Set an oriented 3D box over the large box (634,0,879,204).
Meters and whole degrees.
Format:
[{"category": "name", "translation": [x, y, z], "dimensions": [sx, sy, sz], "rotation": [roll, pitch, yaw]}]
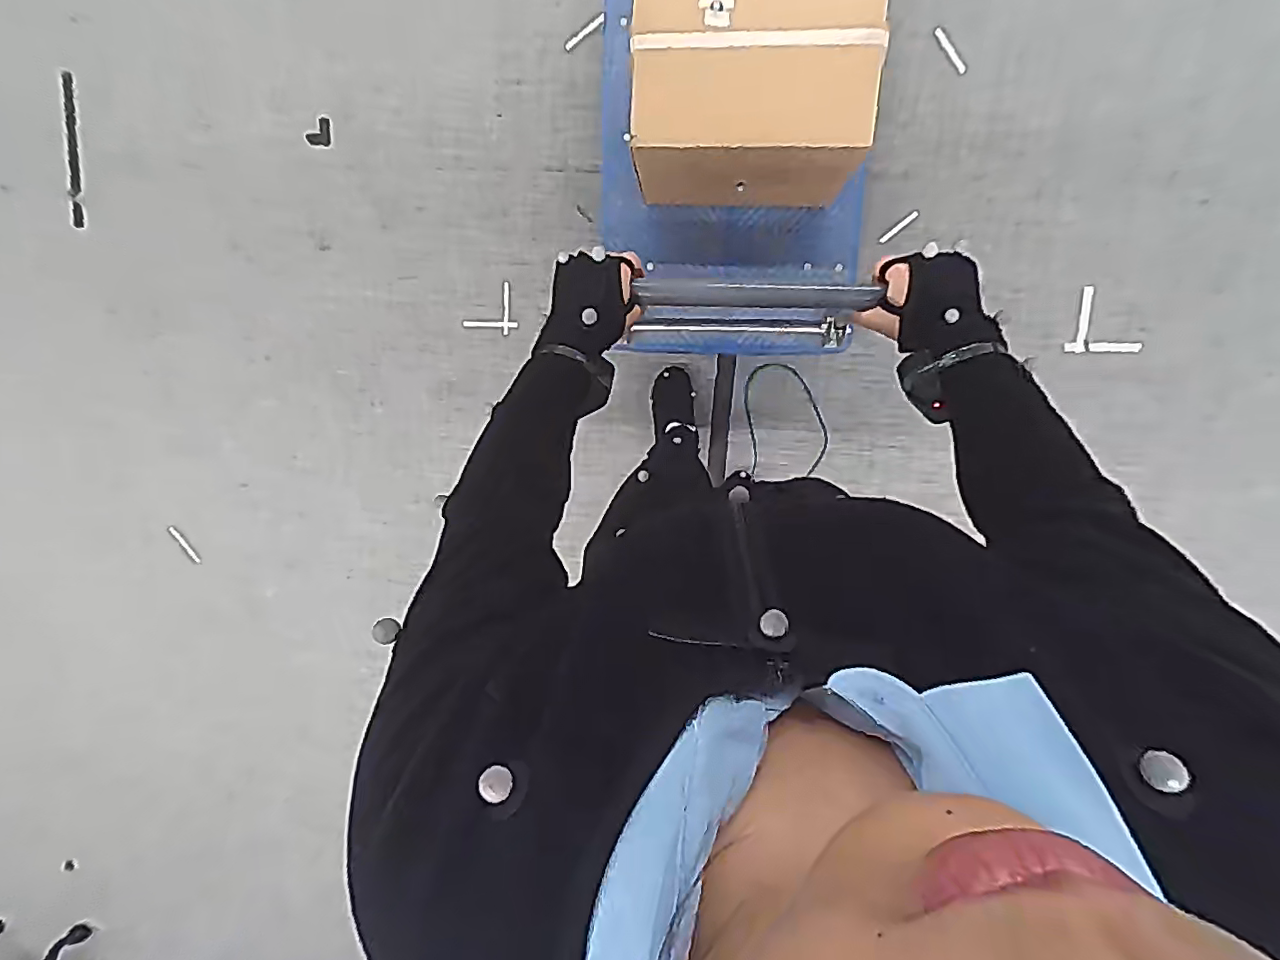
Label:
[{"category": "large box", "translation": [0.207, -0.747, 1.047], "dimensions": [0.408, 0.320, 0.320], "rotation": [3, 99, 6]}]
